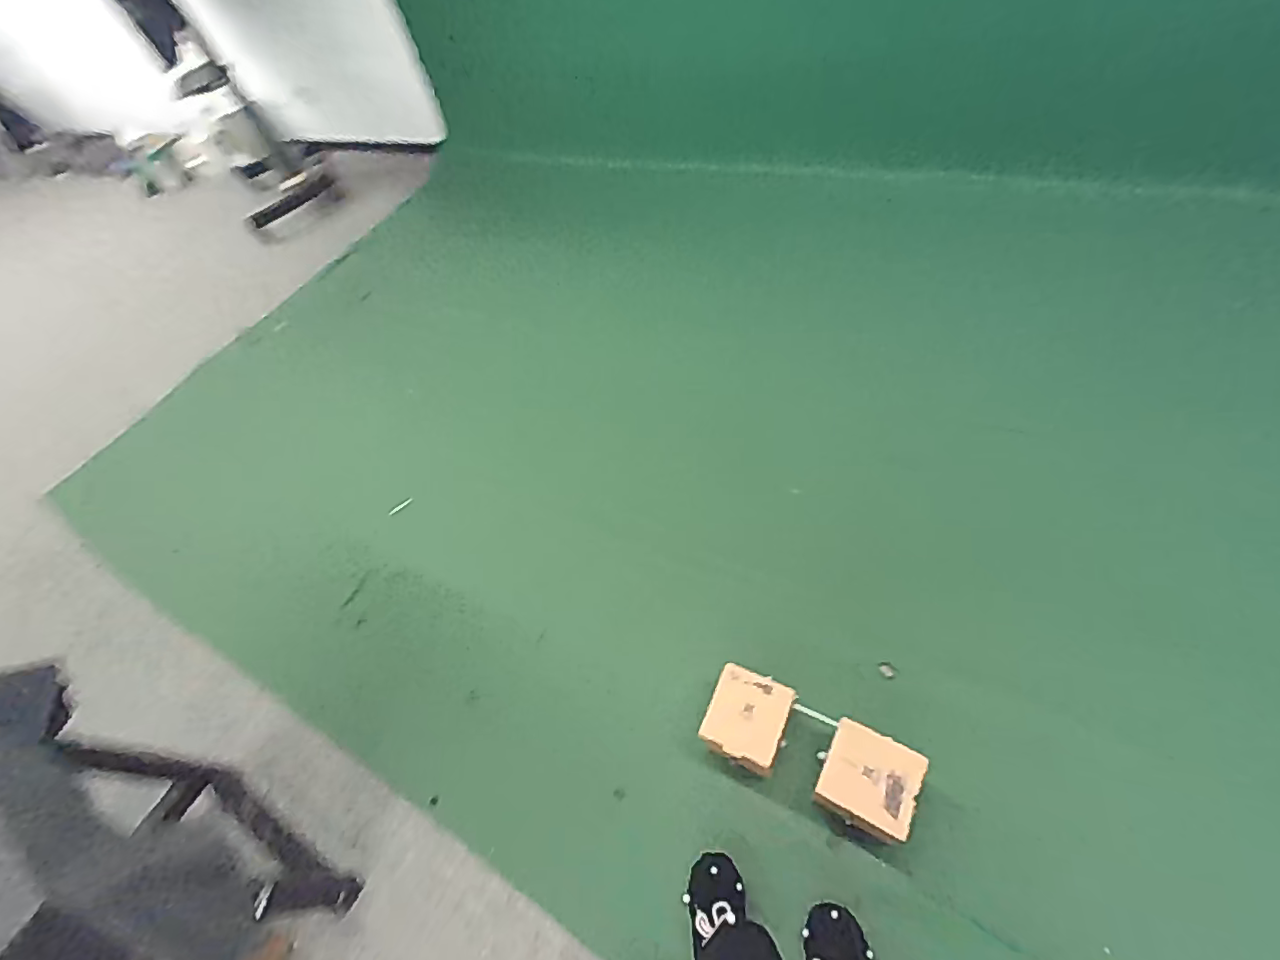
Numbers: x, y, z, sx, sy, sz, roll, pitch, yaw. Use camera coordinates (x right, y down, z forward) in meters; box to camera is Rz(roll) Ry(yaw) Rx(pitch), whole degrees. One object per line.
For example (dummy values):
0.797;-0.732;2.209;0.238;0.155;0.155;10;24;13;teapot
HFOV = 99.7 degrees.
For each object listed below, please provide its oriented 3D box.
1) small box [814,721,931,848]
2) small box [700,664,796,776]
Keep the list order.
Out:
0.485;0.645;1.148;0.179;0.176;0.168;21;63;27;small box
0.258;0.564;1.263;0.168;0.176;0.179;18;63;25;small box
